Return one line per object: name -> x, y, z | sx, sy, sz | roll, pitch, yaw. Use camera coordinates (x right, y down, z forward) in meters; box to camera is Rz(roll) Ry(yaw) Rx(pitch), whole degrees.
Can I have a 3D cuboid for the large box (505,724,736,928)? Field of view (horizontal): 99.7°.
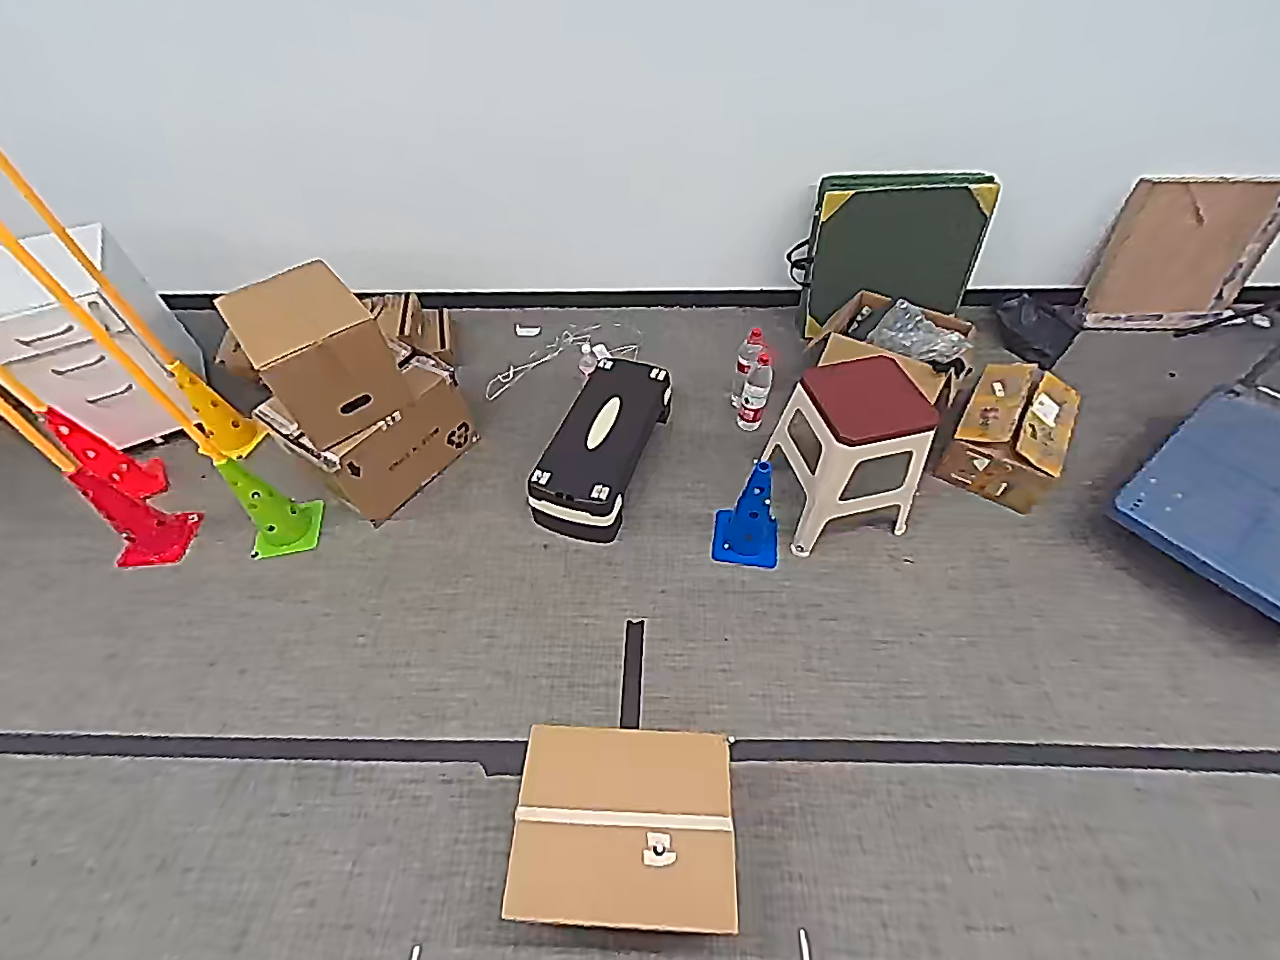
large box -> -0.032, 0.721, 1.122 | 0.408, 0.320, 0.320 | 3, 52, 2
